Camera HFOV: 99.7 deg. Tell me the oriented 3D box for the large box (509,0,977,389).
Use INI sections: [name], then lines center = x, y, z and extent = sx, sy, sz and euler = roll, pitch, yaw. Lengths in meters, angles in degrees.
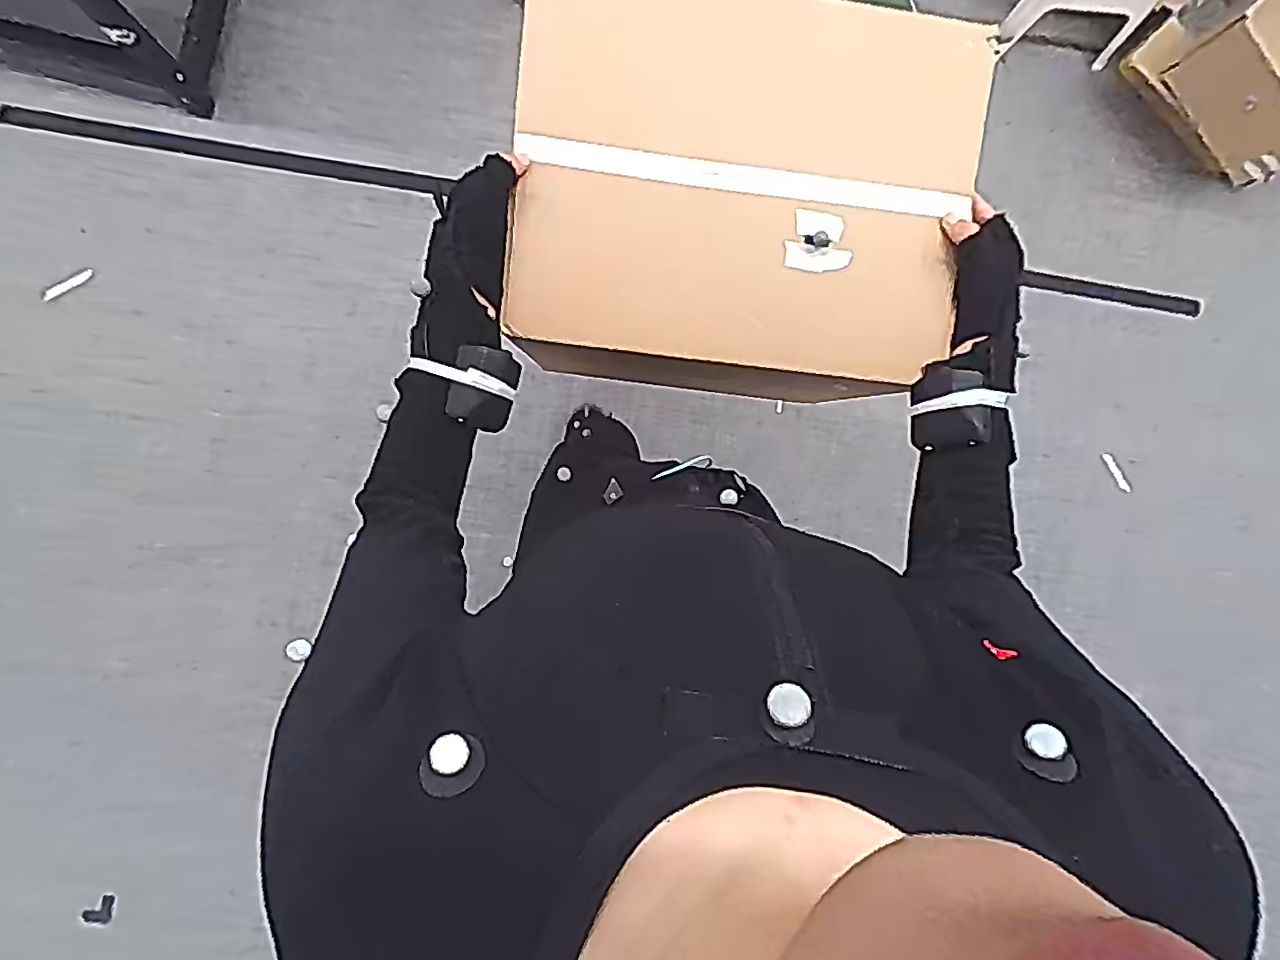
[large box]
center = 0.081, -0.289, 0.631
extent = 0.408, 0.320, 0.320
euler = 6, 97, -5
